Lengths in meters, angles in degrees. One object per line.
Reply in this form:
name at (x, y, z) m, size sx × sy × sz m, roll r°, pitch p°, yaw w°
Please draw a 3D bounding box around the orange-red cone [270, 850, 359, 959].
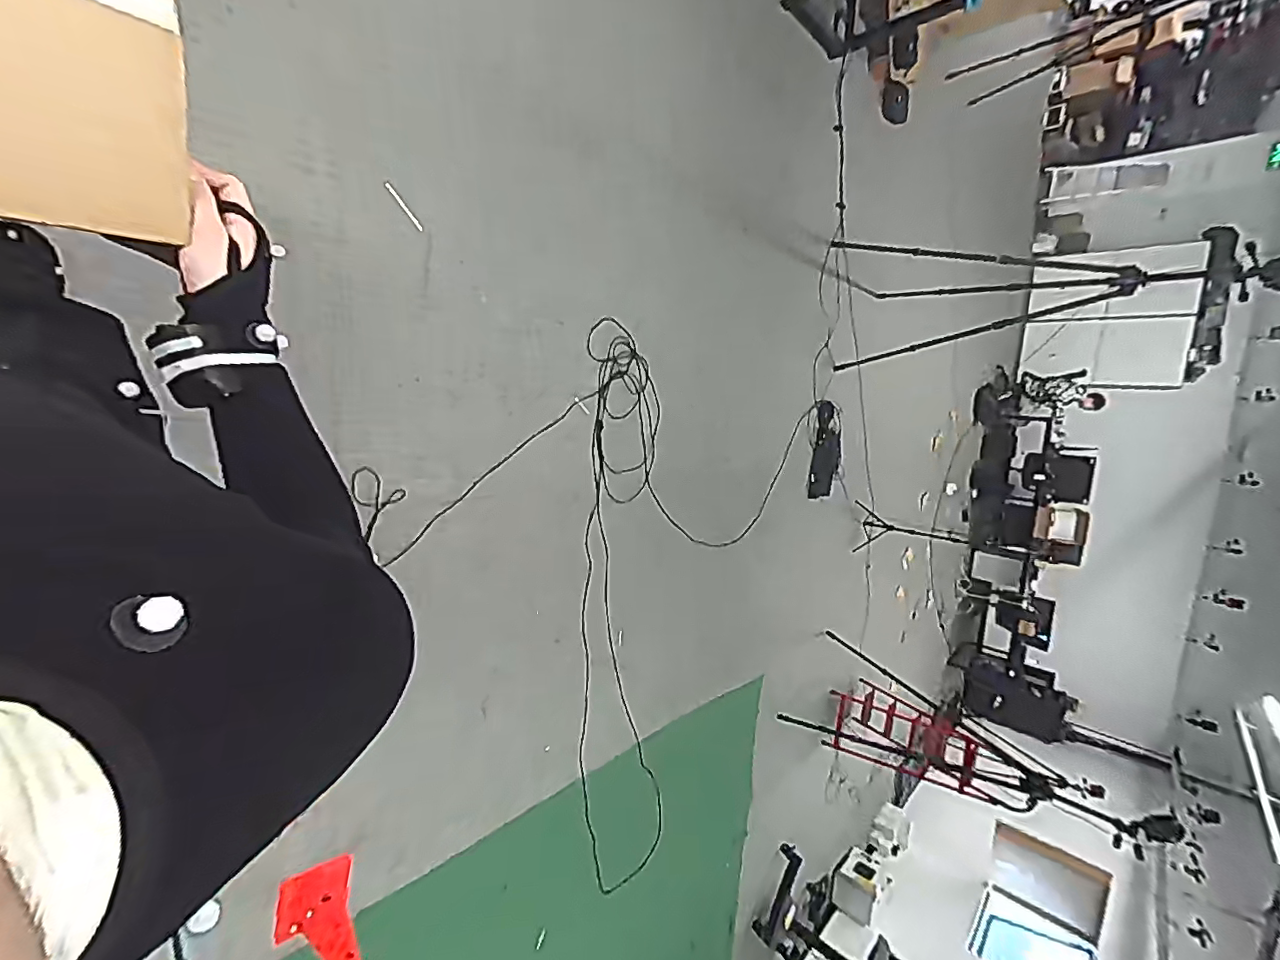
orange-red cone at (-0.875, 1.278, 1.533) m, size 0.199 × 0.360 × 0.198 m, roll 6°, pitch 95°, yaw -49°
